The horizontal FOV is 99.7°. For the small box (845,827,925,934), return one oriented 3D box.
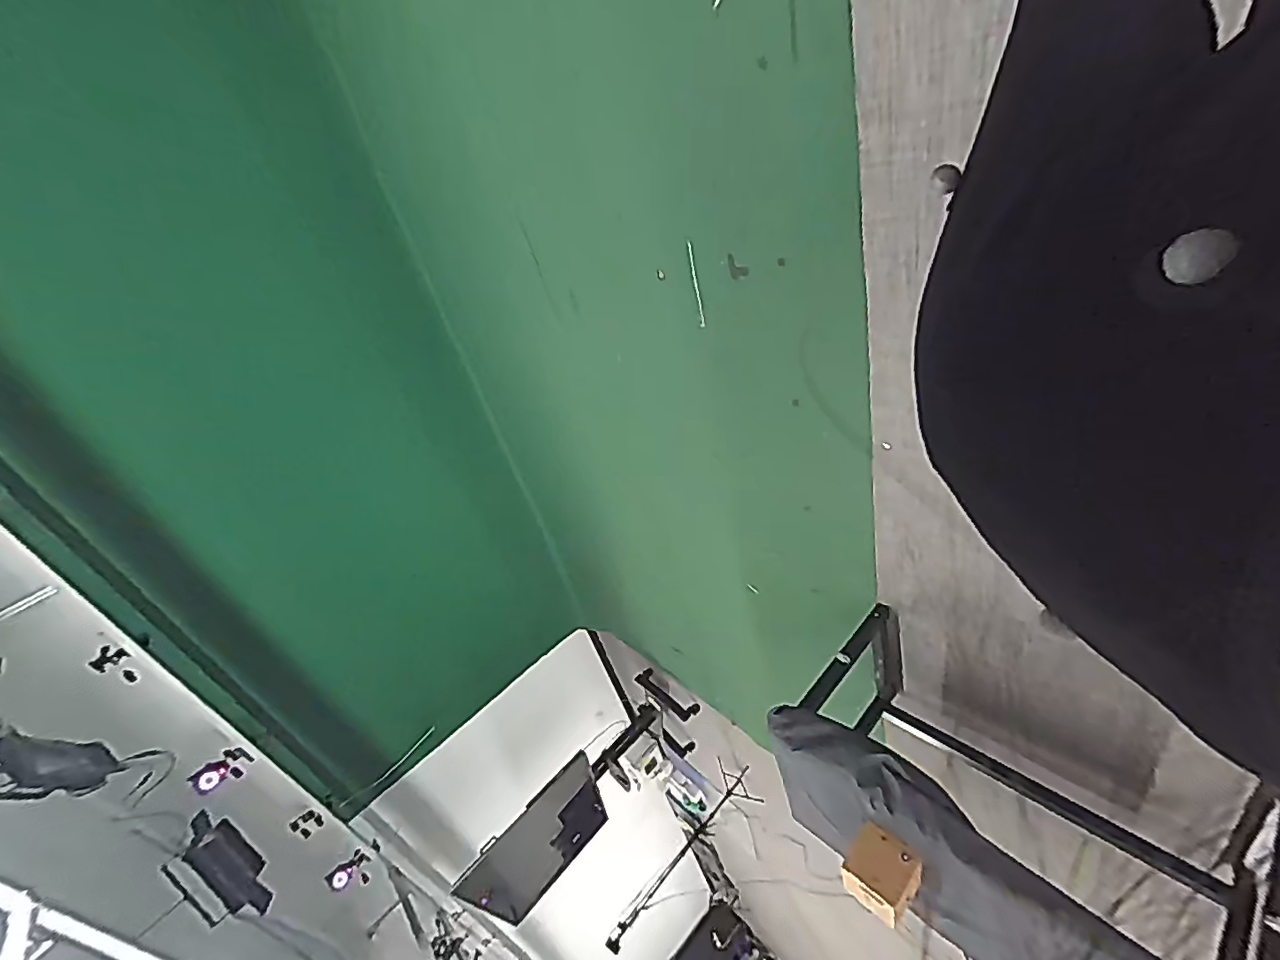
[{"bbox_3d":[0.742,1.202,1.635,0.168,0.176,0.179,21,139,45],"label":"small box"}]
